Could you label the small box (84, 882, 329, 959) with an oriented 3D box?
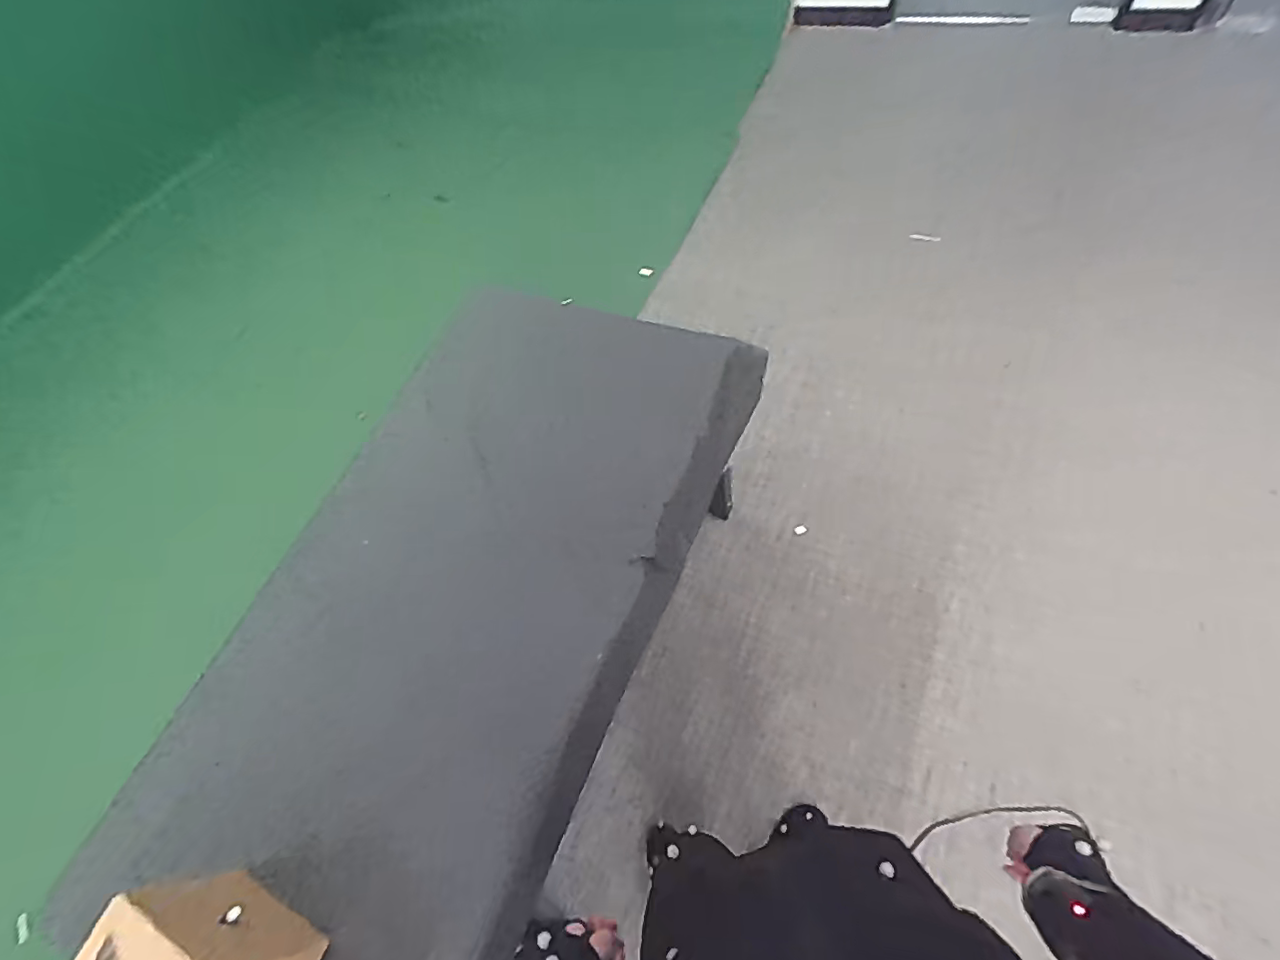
[{"bbox_3d":[-0.505,0.585,0.603,0.179,0.176,0.168,17,67,18],"label":"small box"}]
